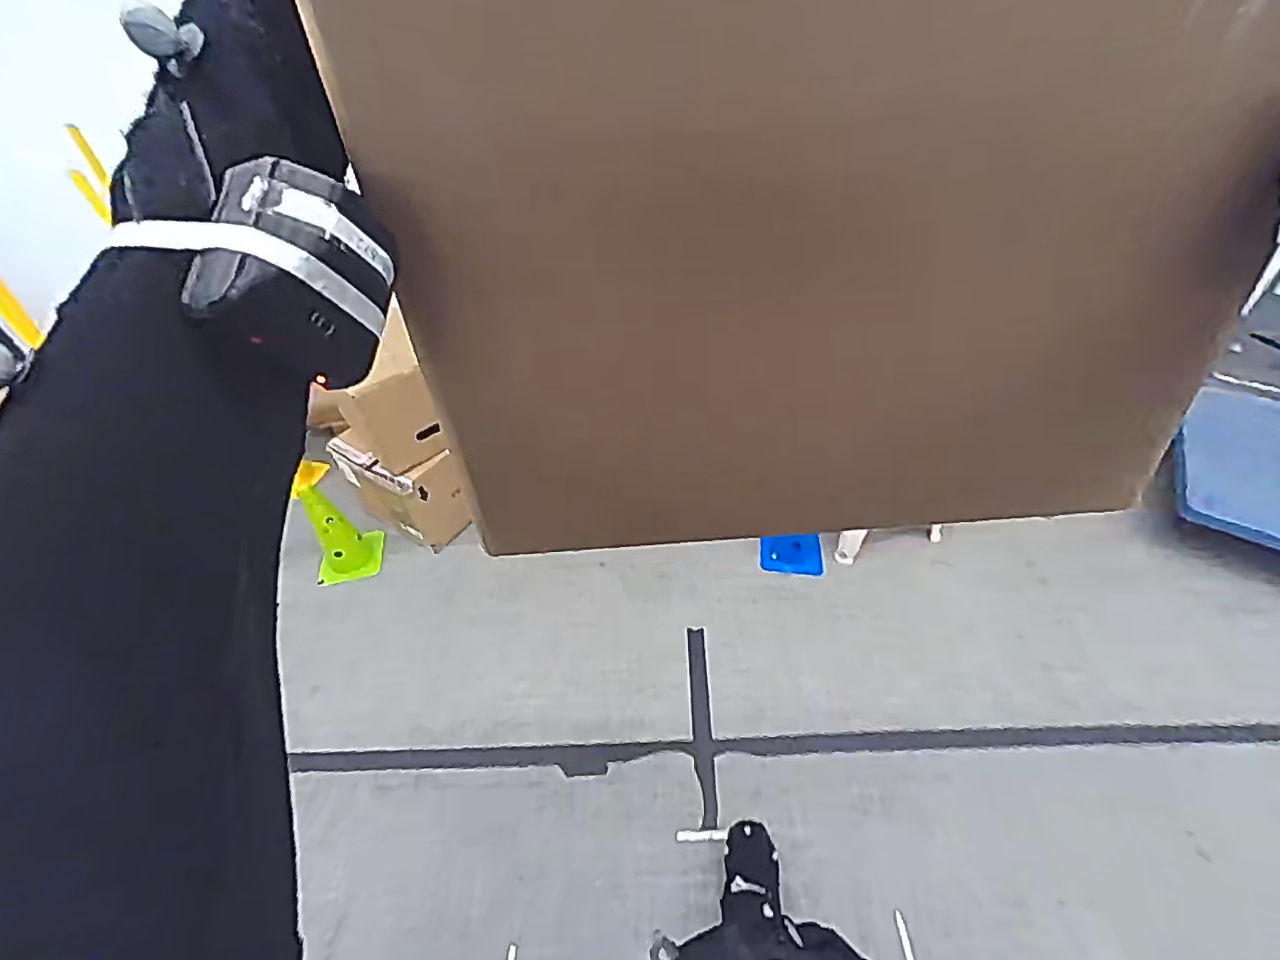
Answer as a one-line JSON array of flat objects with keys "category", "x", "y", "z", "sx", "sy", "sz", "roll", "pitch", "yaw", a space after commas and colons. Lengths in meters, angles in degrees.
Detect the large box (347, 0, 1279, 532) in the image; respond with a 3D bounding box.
[{"category": "large box", "x": 0.084, "y": -0.186, "z": 0.388, "sx": 0.408, "sy": 0.320, "sz": 0.320, "roll": -4, "pitch": 35, "yaw": 1}]
